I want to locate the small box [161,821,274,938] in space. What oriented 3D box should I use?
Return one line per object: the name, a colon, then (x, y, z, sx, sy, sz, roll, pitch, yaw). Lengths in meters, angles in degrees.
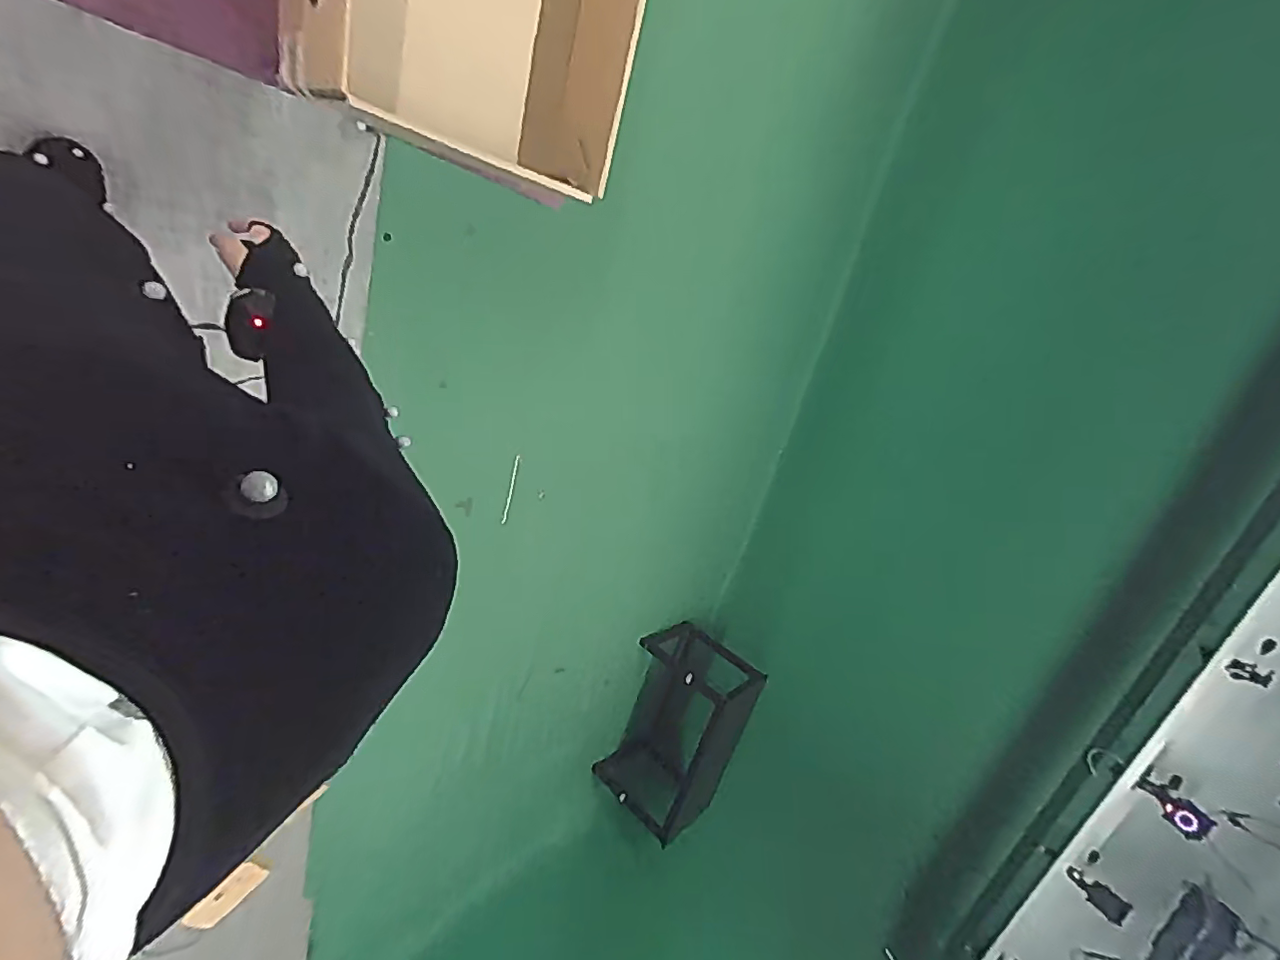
small box: (-1.159, 1.088, 1.479, 0.179, 0.176, 0.168, -41, 140, -28)
